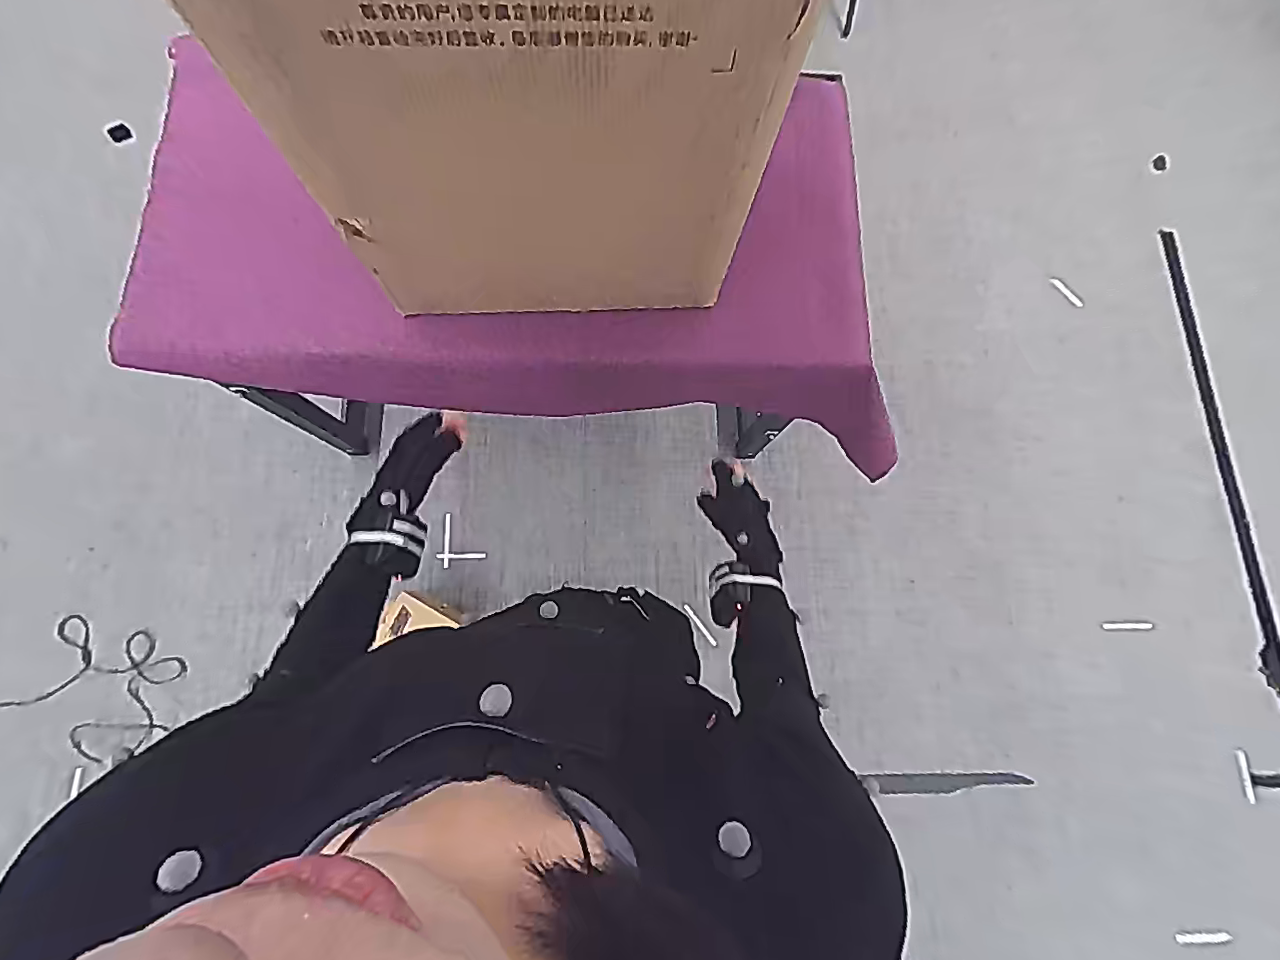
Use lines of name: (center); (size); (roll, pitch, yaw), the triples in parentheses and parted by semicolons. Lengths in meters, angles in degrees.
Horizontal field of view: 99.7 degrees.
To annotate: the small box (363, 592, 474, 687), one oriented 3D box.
small box: (-0.556, 0.403, 1.383); (0.179, 0.176, 0.168); (30, 78, 2)
